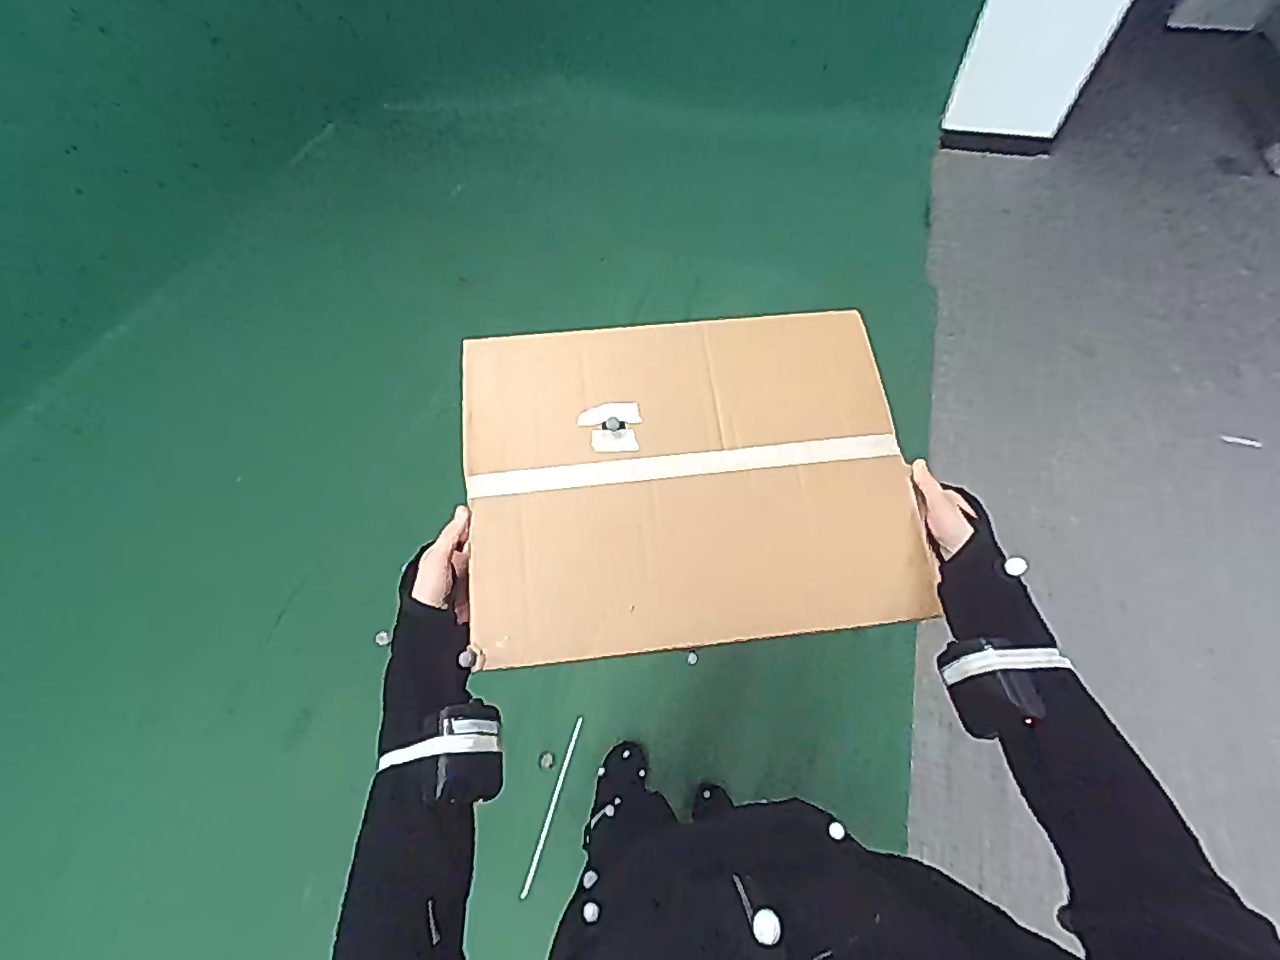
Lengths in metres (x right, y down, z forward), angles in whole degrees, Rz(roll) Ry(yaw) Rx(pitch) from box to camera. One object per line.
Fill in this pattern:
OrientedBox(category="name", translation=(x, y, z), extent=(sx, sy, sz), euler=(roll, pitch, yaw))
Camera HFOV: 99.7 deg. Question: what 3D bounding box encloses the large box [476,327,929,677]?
OrientedBox(category="large box", translation=(0.046, 0.048, 0.657), extent=(0.408, 0.320, 0.320), euler=(-5, 71, -3))
